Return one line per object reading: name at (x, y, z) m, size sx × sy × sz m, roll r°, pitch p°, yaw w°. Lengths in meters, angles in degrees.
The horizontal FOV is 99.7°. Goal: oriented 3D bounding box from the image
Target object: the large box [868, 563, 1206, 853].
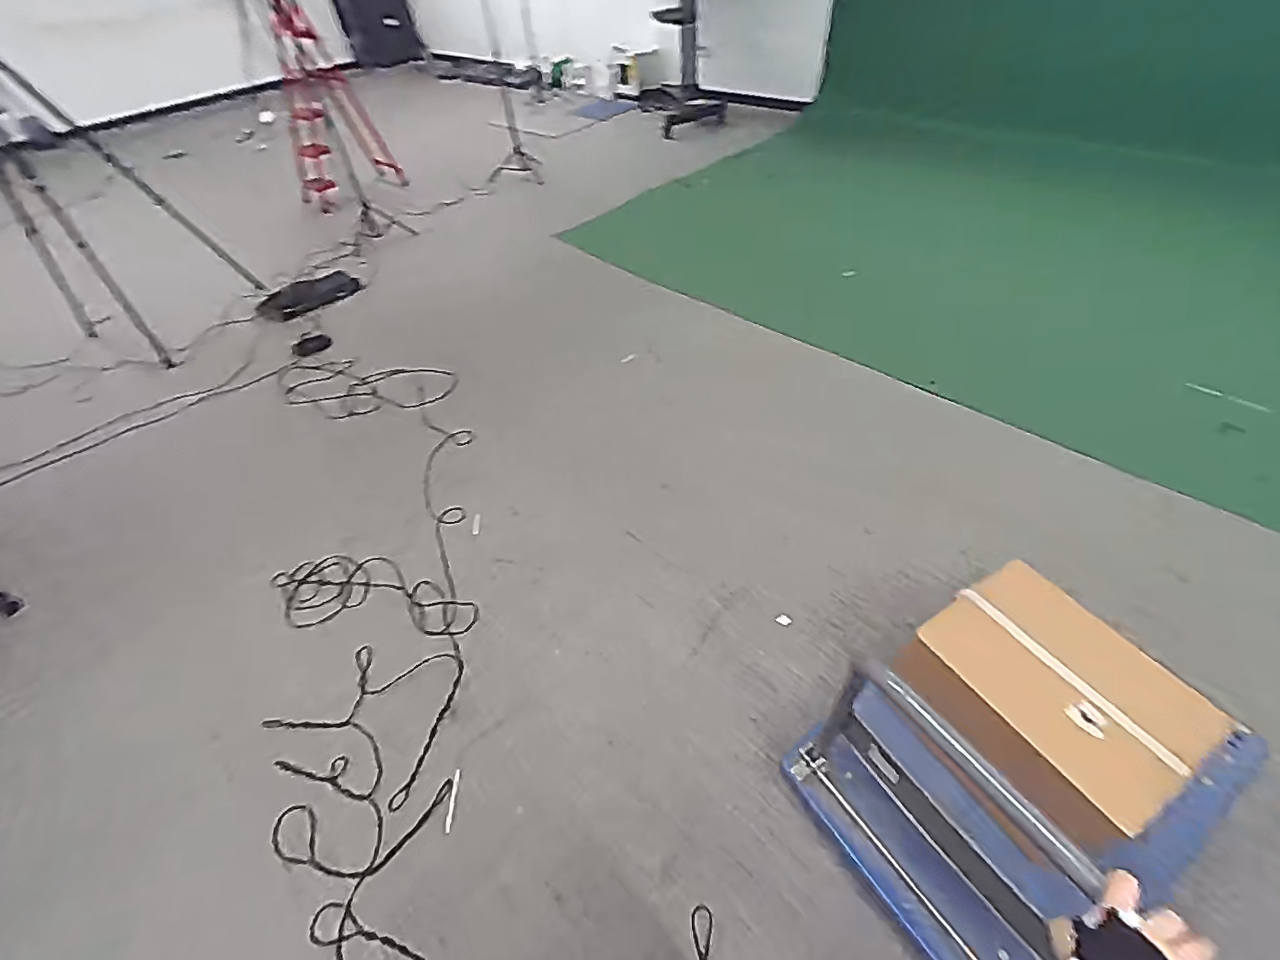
large box at (0.764, 0.458, 1.120) m, size 0.320 × 0.320 × 0.408 m, roll -27°, pitch 52°, yaw -17°
